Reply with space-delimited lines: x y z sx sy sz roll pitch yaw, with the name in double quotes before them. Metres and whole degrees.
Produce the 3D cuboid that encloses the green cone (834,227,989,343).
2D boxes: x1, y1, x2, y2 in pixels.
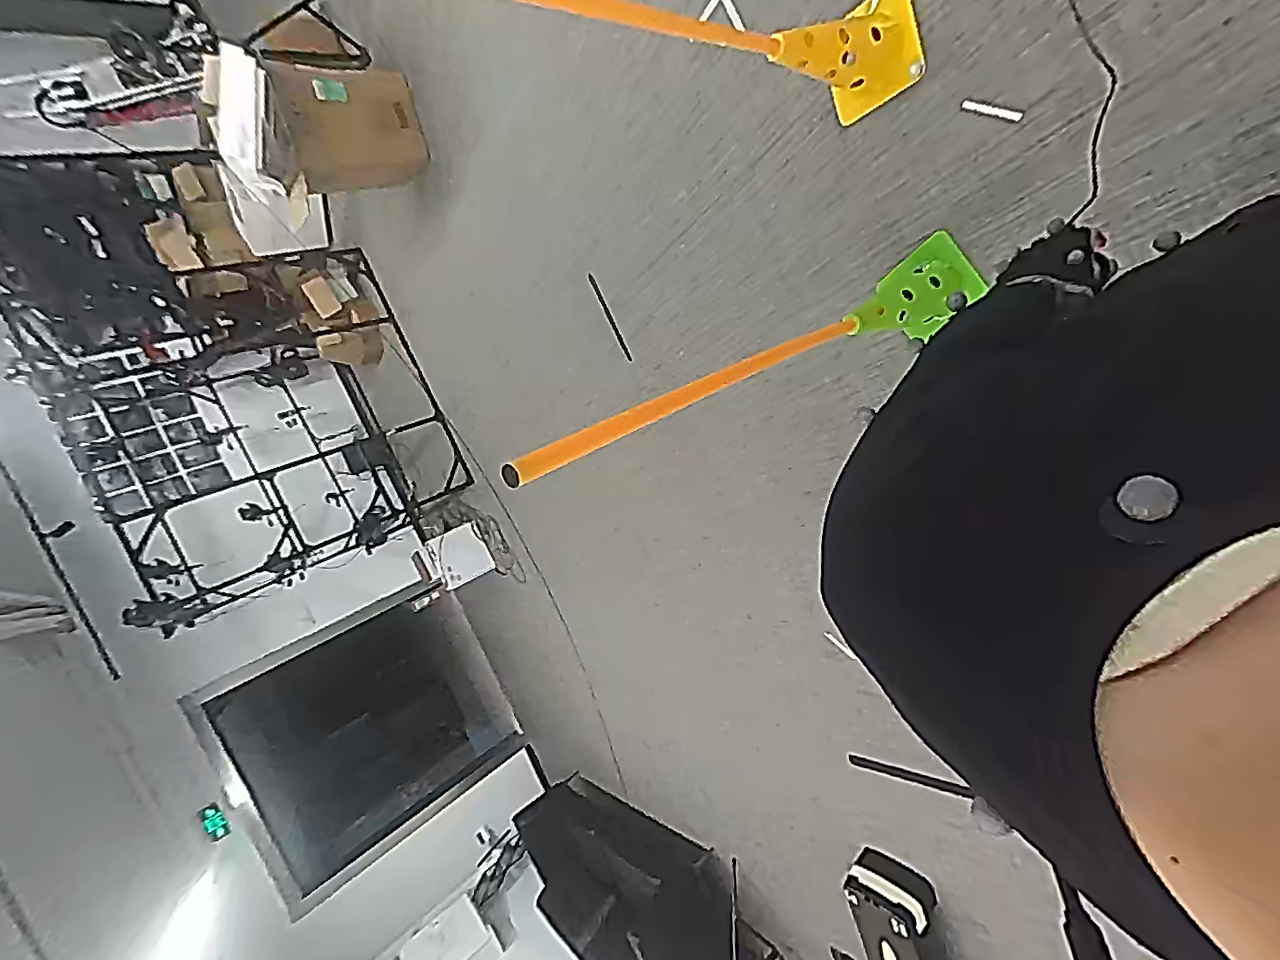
"green cone" 0.537 -0.382 1.155 0.202 0.368 0.200 59 146 9
